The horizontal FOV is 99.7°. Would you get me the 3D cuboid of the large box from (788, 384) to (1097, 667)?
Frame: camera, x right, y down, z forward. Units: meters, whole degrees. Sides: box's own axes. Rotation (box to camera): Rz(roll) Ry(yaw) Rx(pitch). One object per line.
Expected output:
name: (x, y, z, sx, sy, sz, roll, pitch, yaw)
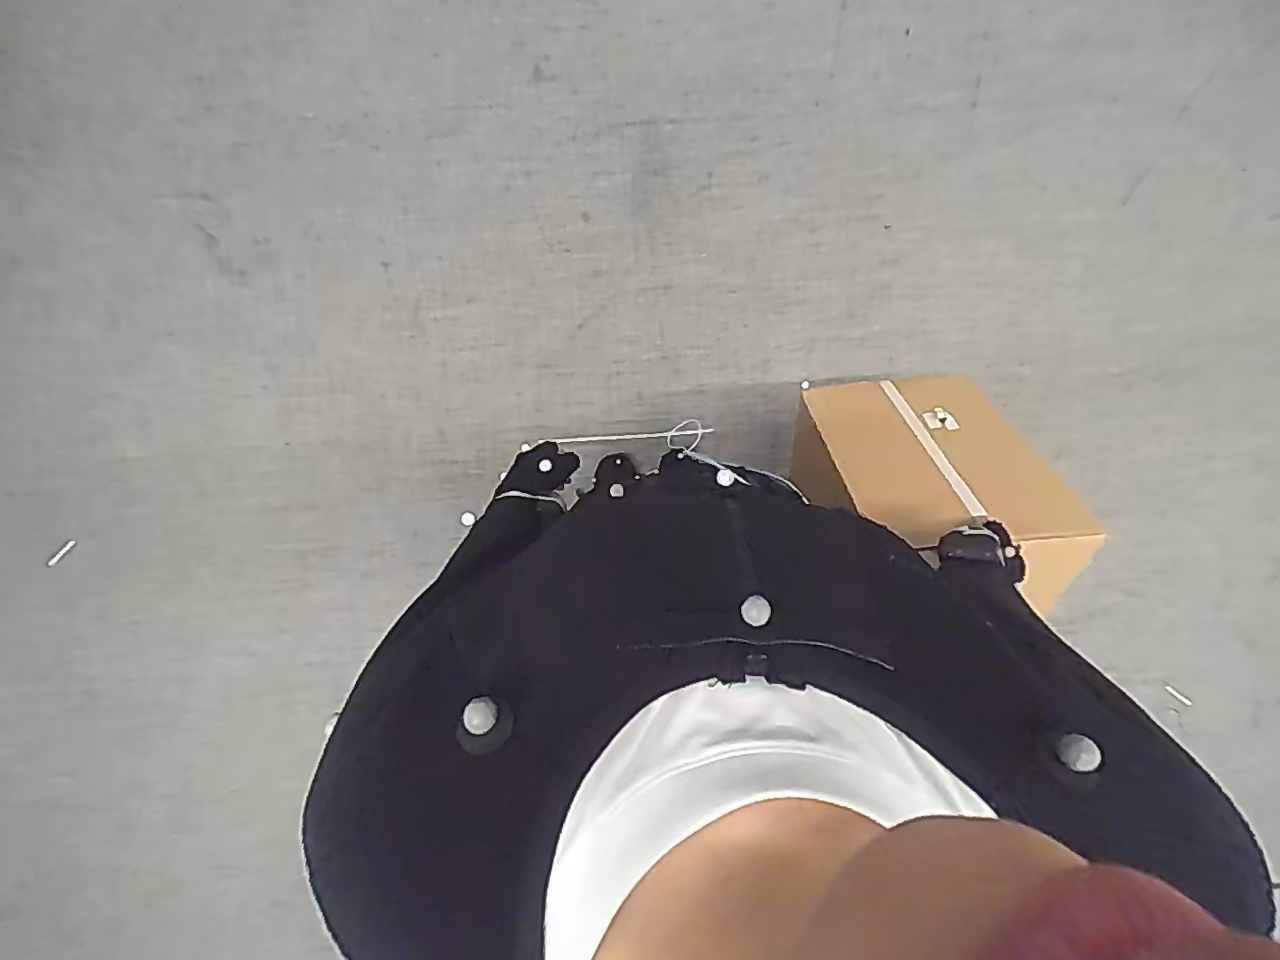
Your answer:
large box: (0.483, 0.073, 0.989, 0.320, 0.408, 0.320, -5, 131, 1)
